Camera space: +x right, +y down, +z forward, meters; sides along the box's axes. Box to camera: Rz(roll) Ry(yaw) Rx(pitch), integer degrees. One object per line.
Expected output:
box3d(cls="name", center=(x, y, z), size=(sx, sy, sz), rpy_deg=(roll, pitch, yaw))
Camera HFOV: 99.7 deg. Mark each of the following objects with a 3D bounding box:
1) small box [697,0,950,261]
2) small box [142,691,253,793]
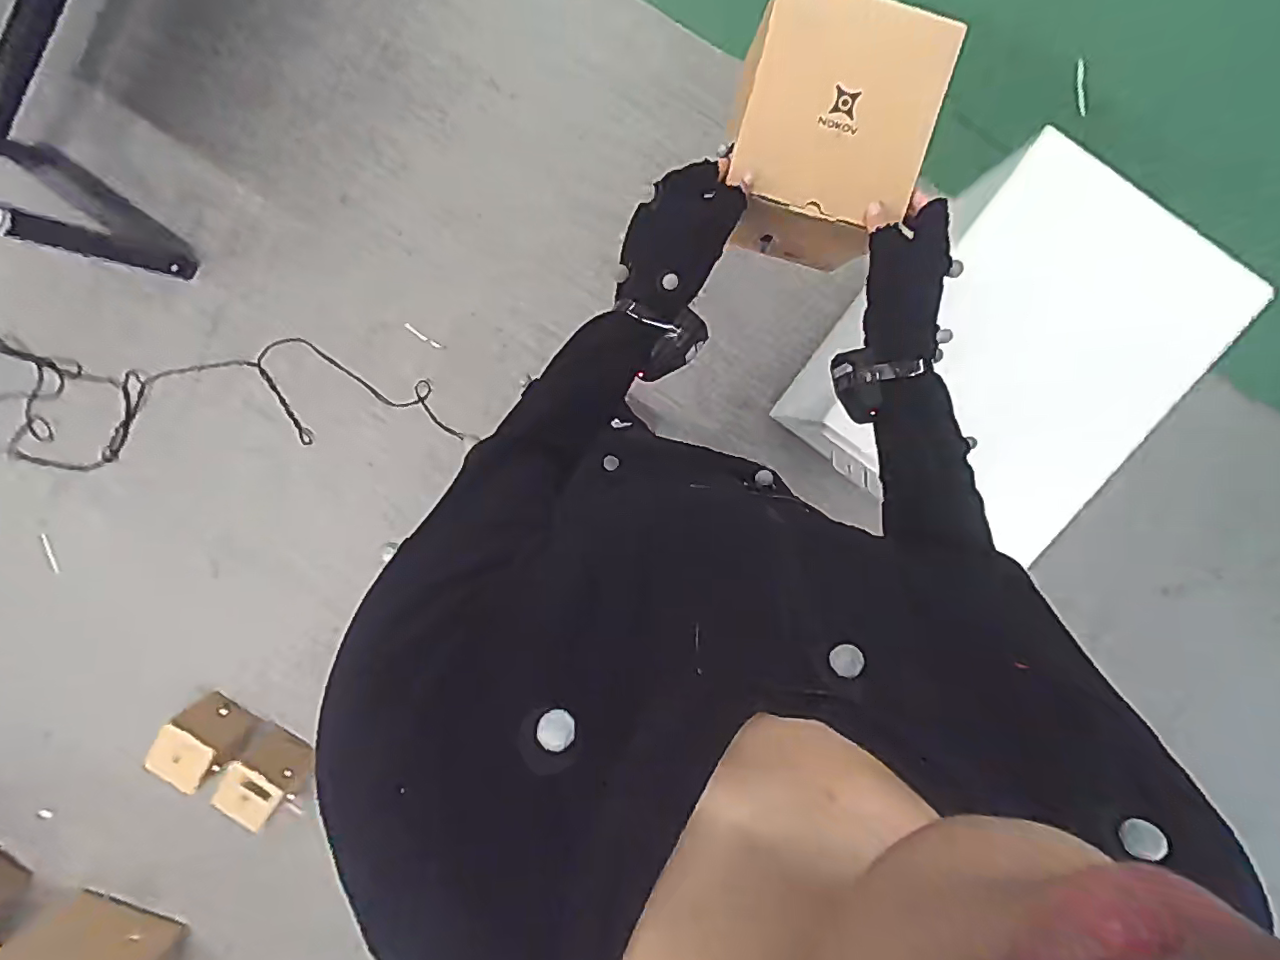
box3d(cls="small box", center=(0.161, -0.341, 0.541), size=(0.168, 0.176, 0.179), rpy_deg=(13, 101, -4))
box3d(cls="small box", center=(-1.315, 0.778, 1.619), size=(0.168, 0.176, 0.179), rpy_deg=(33, 99, -1))
